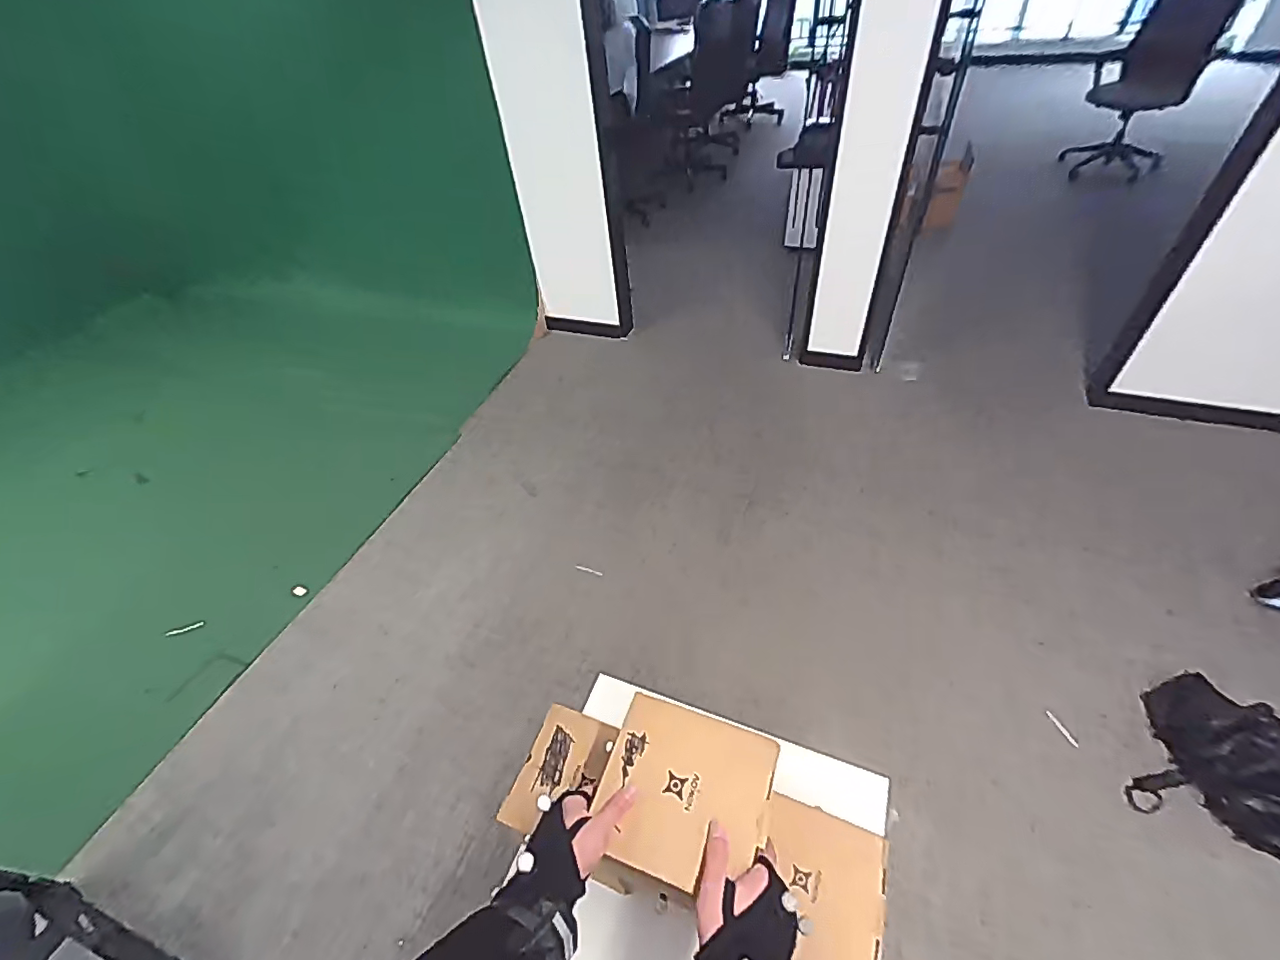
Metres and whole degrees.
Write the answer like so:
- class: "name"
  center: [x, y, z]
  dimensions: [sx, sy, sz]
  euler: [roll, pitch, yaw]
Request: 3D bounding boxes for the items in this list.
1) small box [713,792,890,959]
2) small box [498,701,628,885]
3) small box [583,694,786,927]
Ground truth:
- class: "small box"
  center: [0.202, 0.533, 0.699]
  dimensions: [0.179, 0.176, 0.168]
  euler: [14, 48, 19]
- class: "small box"
  center: [-0.074, 0.458, 0.787]
  dimensions: [0.179, 0.176, 0.168]
  euler: [15, 50, 16]
- class: "small box"
  center: [0.055, 0.382, 0.627]
  dimensions: [0.179, 0.176, 0.168]
  euler: [14, 51, 16]
